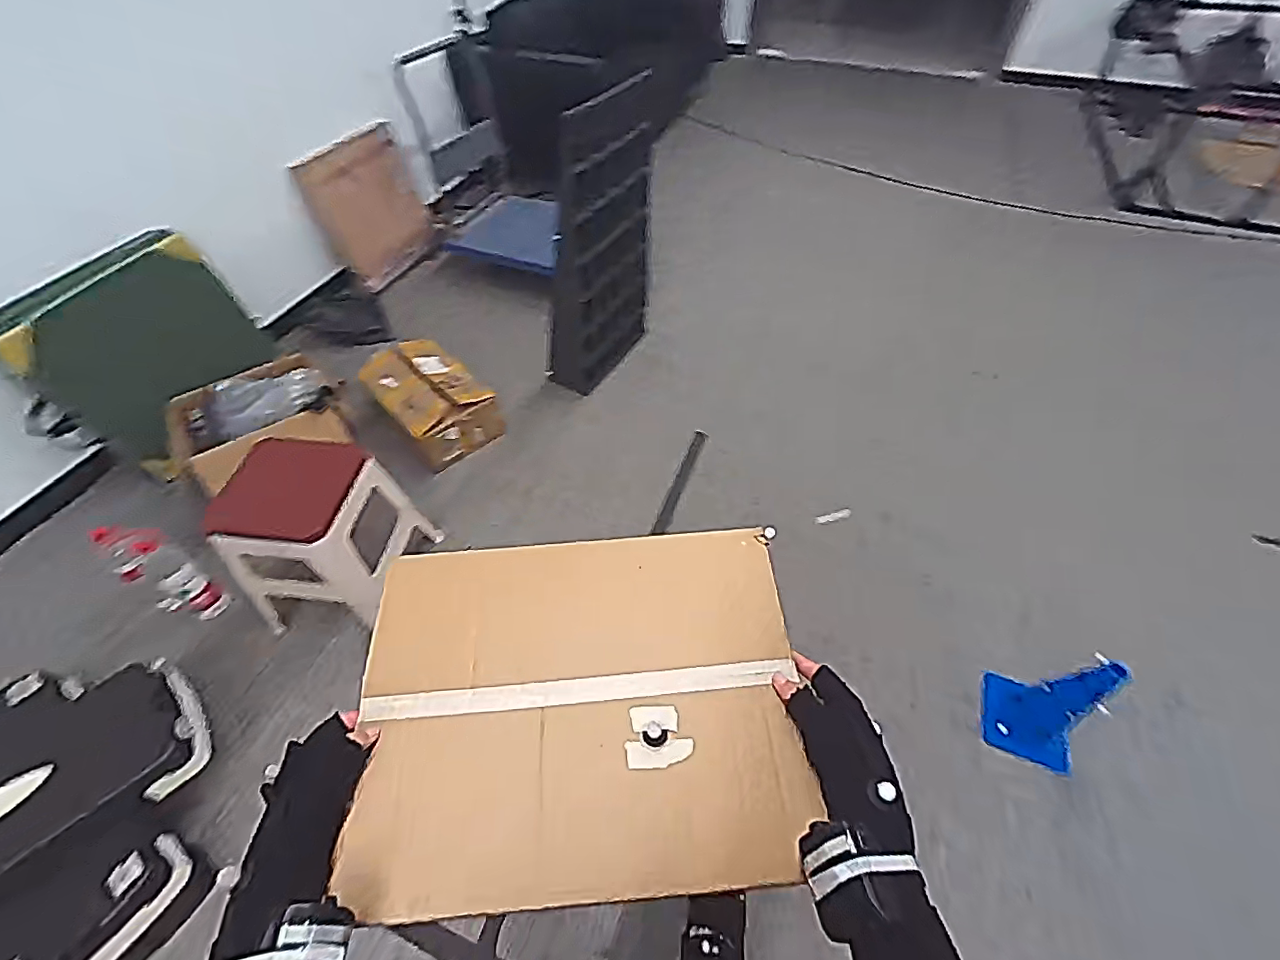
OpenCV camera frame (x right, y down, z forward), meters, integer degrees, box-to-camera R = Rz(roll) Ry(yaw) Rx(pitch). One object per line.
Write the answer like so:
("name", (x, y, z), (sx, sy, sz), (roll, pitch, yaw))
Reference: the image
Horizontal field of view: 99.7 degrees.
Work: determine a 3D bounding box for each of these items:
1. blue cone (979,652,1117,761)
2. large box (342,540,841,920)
("blue cone", (0.987, 0.508, 1.281), (0.193, 0.380, 0.192), (20, 52, 15))
("large box", (-0.044, 0.289, 0.629), (0.408, 0.320, 0.320), (-3, 55, -1))
